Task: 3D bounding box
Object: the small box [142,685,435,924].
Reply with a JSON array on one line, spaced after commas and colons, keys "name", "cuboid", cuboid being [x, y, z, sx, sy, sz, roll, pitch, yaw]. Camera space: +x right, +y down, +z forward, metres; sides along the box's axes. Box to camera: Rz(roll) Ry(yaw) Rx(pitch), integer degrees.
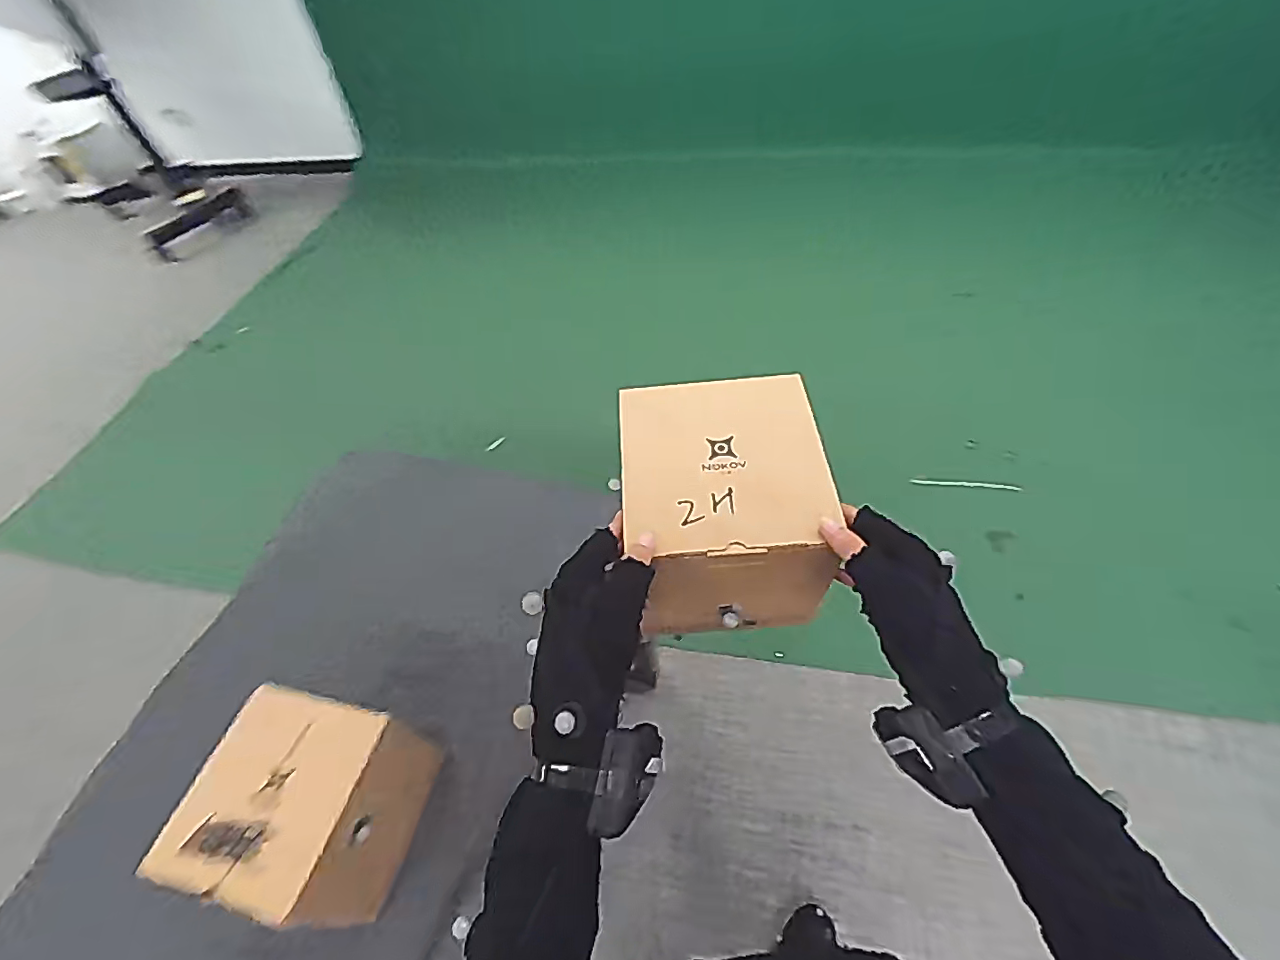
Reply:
[{"name": "small box", "cuboid": [-0.356, 0.354, 0.593, 0.168, 0.176, 0.179, 8, 53, 13]}]
